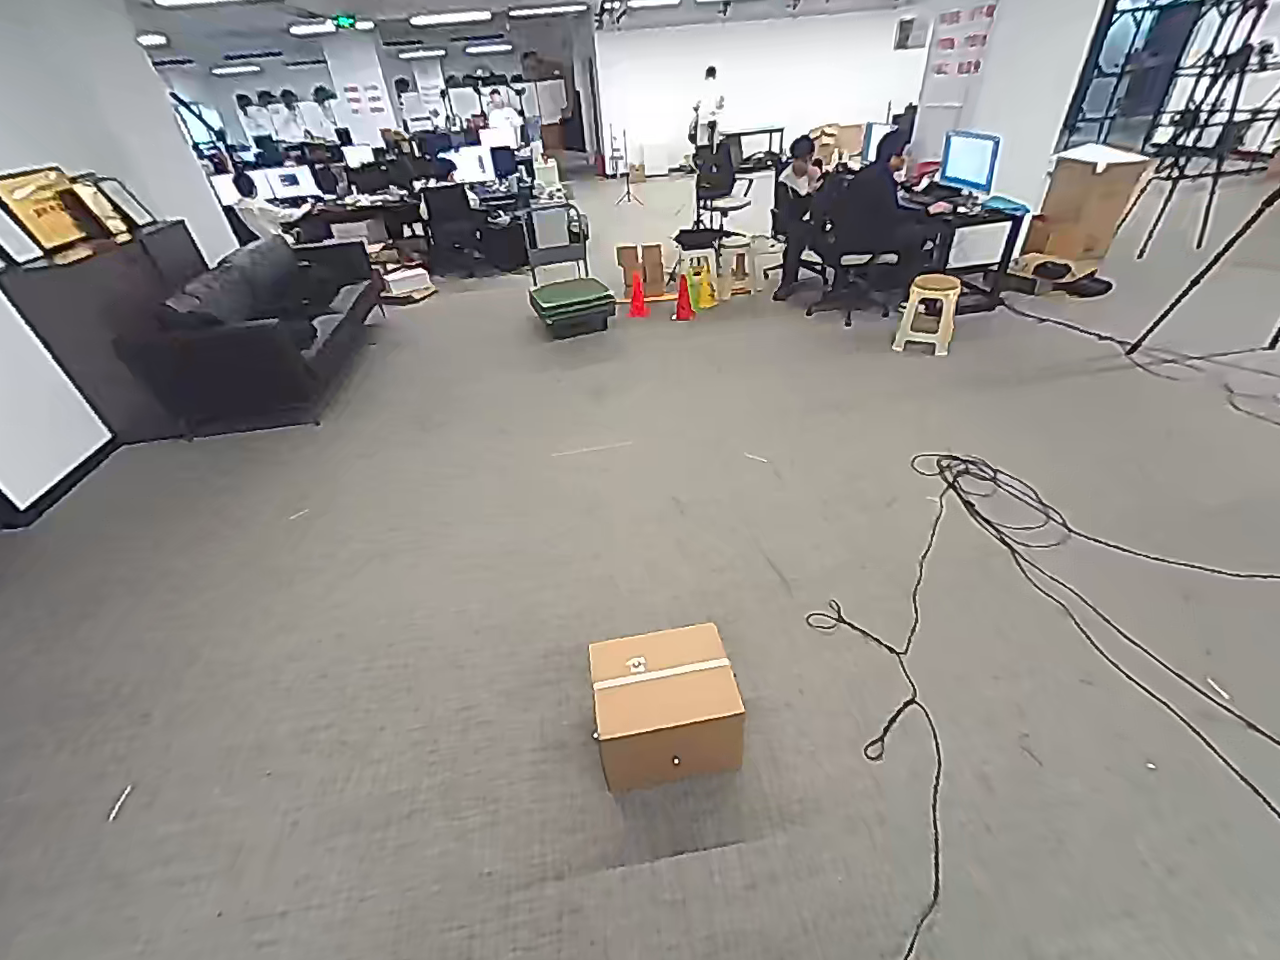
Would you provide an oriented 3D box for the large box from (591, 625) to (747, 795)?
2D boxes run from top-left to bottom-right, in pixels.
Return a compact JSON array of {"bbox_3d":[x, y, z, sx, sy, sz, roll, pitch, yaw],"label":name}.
[{"bbox_3d":[0.084,0.700,1.655,0.408,0.320,0.320,-11,35,-5],"label":"large box"}]
